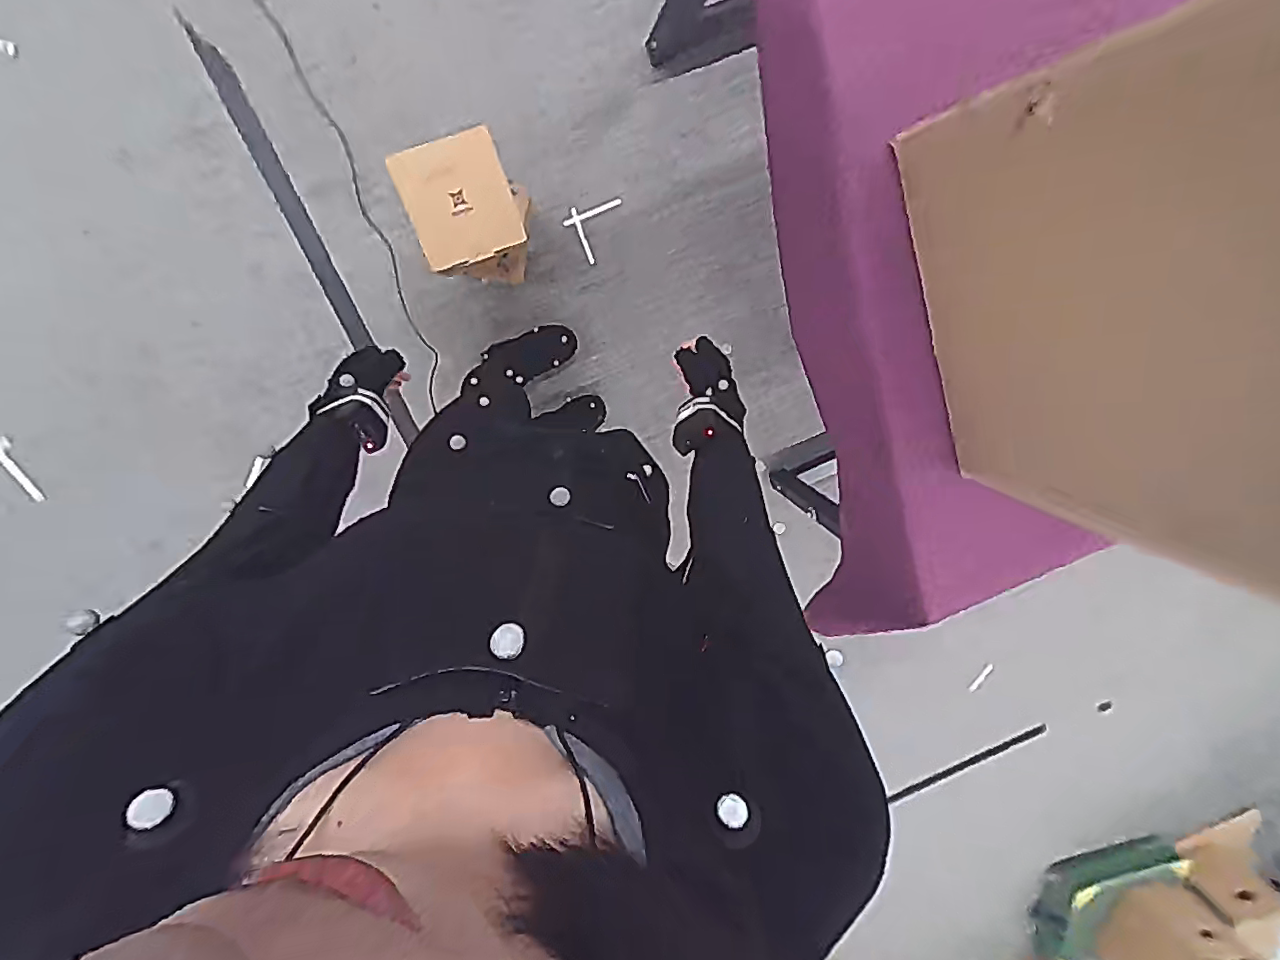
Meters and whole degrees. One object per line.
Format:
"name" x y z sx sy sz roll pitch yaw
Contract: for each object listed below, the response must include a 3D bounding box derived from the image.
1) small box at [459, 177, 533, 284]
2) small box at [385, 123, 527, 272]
"small box" -0.311 -0.502 1.076 0.168 0.176 0.179 9 106 -14
"small box" -0.296 -0.463 0.916 0.168 0.176 0.179 -21 110 -5
